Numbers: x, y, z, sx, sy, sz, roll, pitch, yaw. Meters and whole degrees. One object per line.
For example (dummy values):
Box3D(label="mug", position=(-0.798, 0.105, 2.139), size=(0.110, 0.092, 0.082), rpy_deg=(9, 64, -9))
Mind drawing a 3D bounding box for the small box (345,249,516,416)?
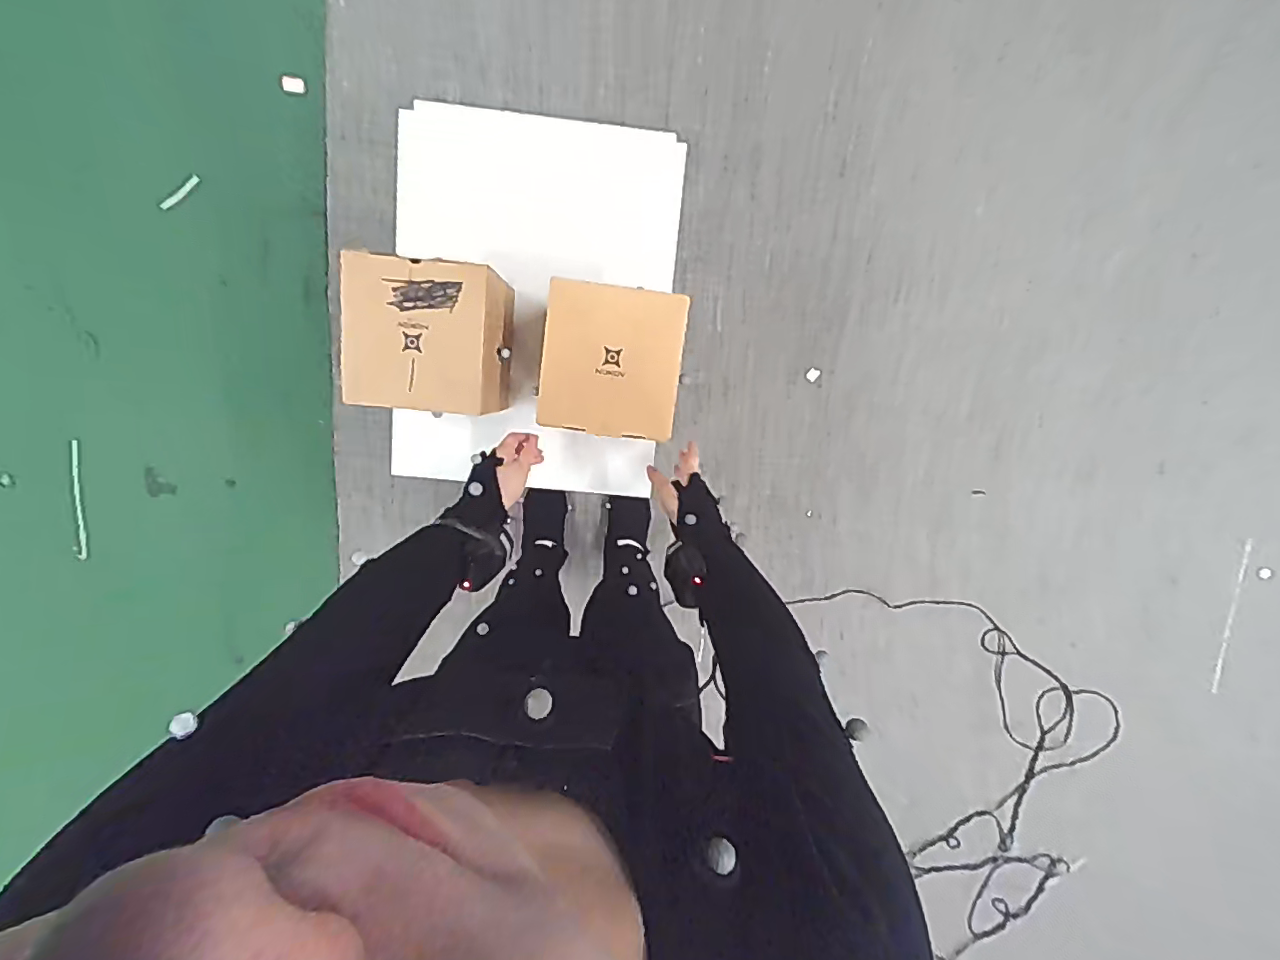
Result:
Box3D(label="small box", position=(-0.262, -0.183, 0.710), size=(0.168, 0.176, 0.179), rpy_deg=(6, 100, -3))

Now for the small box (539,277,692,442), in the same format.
Box3D(label="small box", position=(-0.032, -0.154, 0.722), size=(0.168, 0.176, 0.179), rpy_deg=(7, 100, -2))
